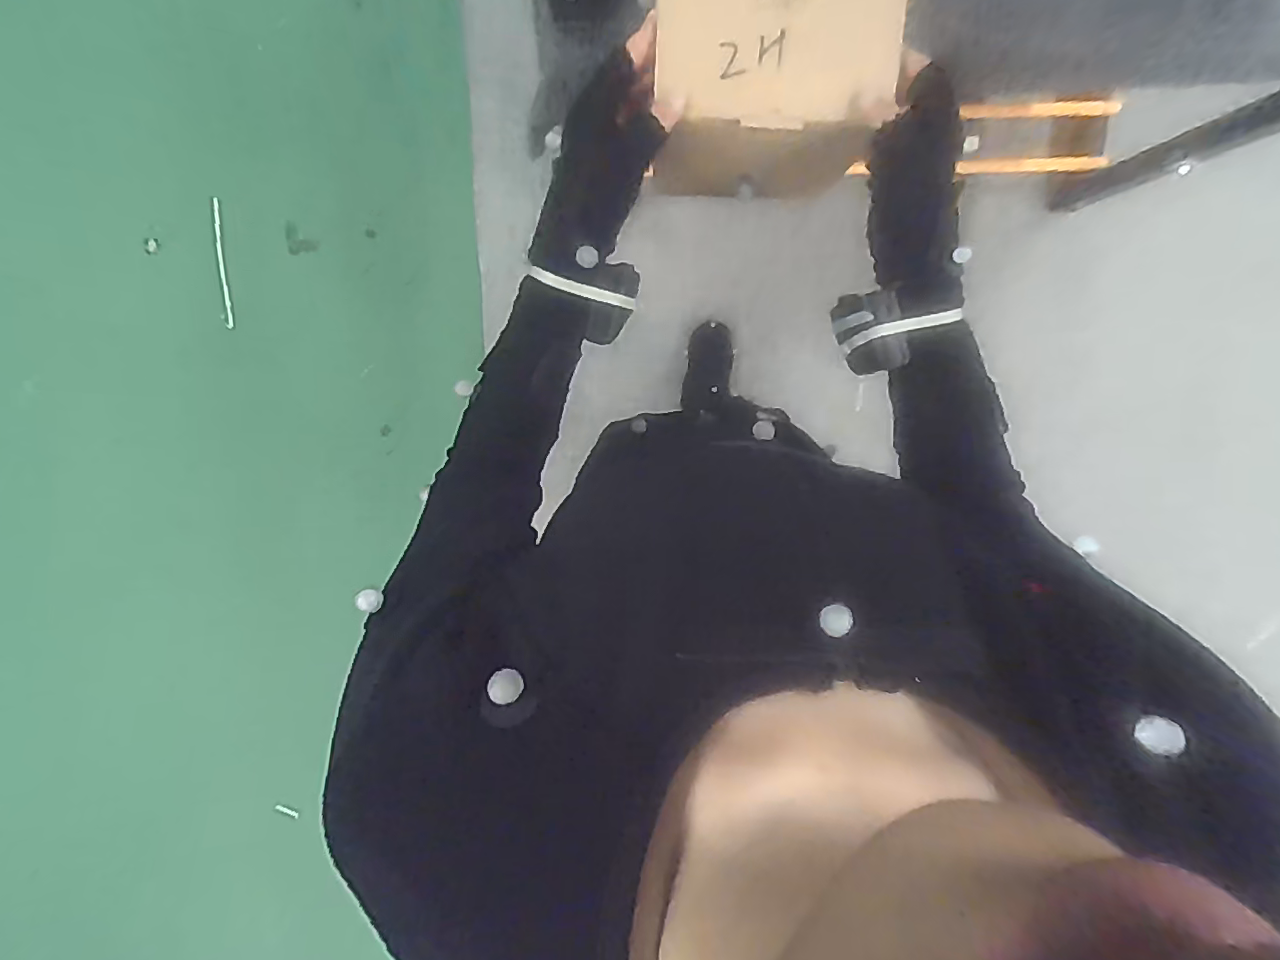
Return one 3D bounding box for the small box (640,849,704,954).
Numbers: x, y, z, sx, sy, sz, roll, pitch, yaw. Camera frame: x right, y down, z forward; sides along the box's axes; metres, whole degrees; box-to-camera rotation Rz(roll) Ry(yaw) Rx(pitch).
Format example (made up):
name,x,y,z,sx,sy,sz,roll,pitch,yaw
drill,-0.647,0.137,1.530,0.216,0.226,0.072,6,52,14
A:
name,x,y,z,sx,sy,sz,roll,pitch,yaw
small box,0.093,1.261,1.624,0.168,0.176,0.179,6,100,-1
